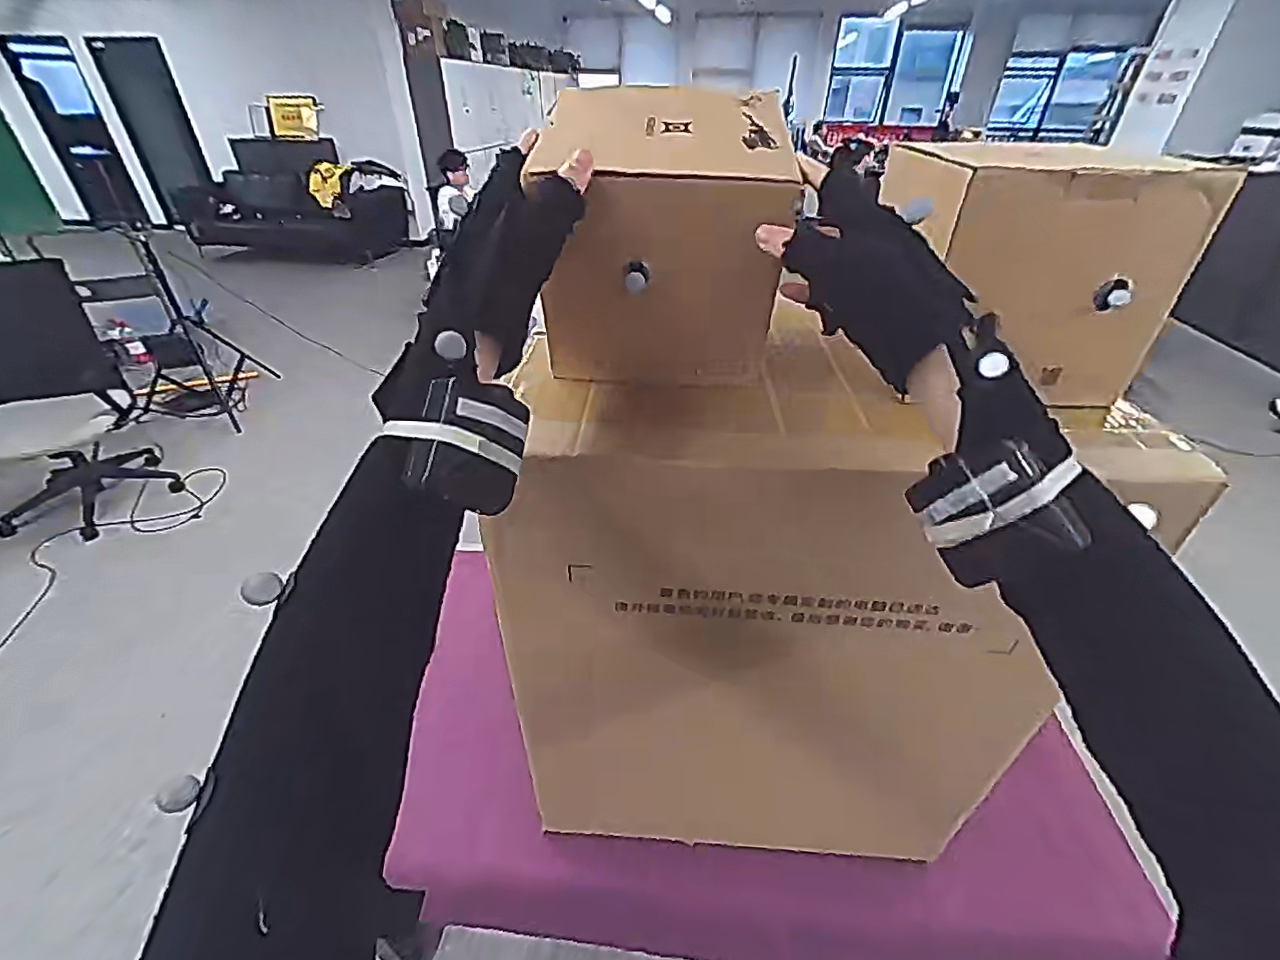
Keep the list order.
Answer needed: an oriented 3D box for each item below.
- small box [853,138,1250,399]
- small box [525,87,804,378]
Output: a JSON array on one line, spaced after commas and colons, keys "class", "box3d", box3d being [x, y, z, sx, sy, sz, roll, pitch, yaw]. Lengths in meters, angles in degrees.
[{"class": "small box", "box3d": [0.295, -0.177, 0.444, 0.168, 0.176, 0.179, 3, 35, 2]}, {"class": "small box", "box3d": [0.021, -0.199, 0.443, 0.179, 0.176, 0.168, 3, 49, 3]}]
